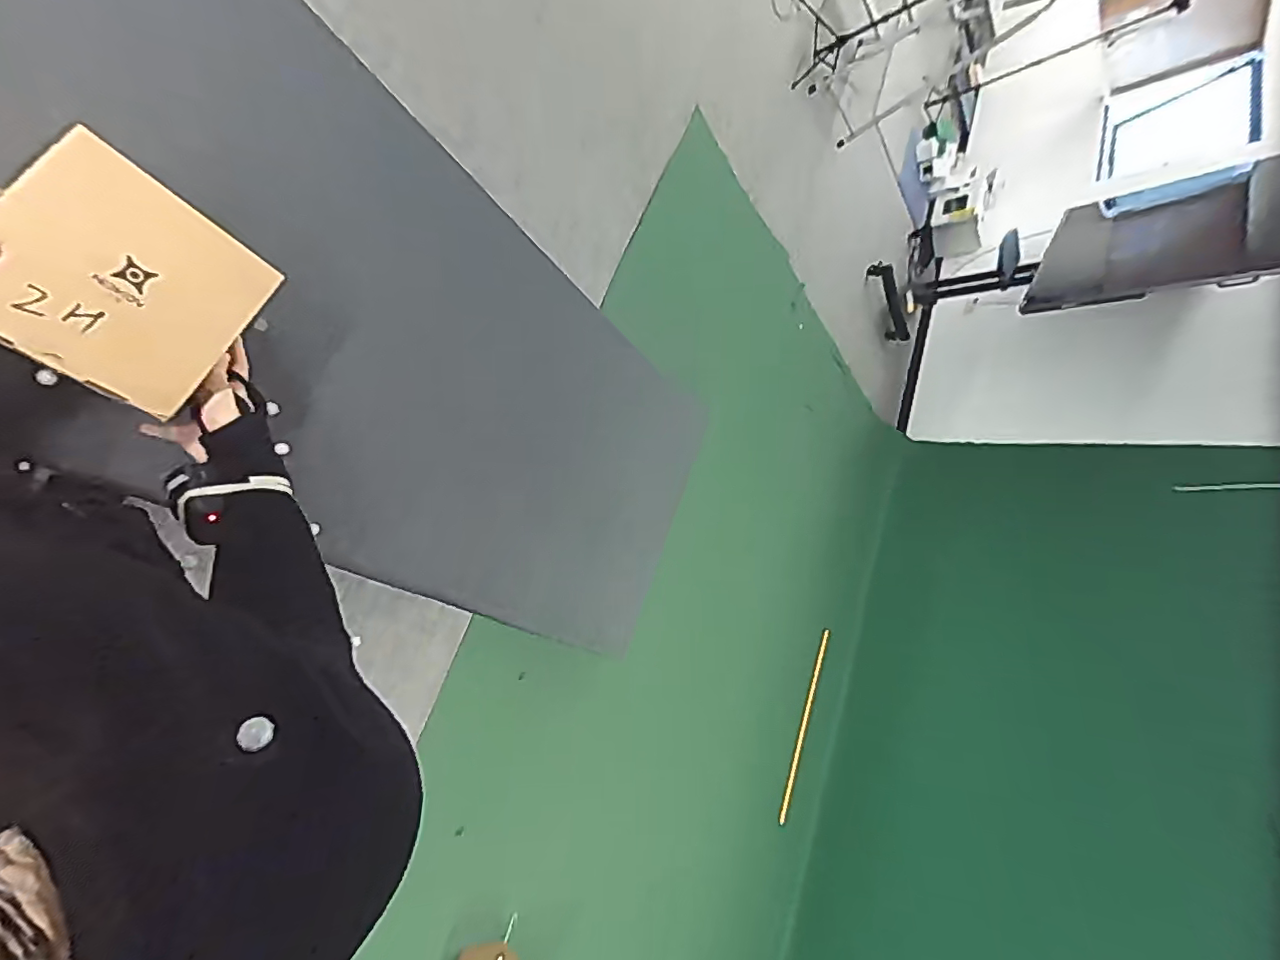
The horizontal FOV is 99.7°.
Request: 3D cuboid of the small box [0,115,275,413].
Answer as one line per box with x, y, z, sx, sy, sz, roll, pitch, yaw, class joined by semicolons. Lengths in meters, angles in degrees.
-0.491;-0.180;0.498;0.168;0.176;0.179;43;65;-42;small box
